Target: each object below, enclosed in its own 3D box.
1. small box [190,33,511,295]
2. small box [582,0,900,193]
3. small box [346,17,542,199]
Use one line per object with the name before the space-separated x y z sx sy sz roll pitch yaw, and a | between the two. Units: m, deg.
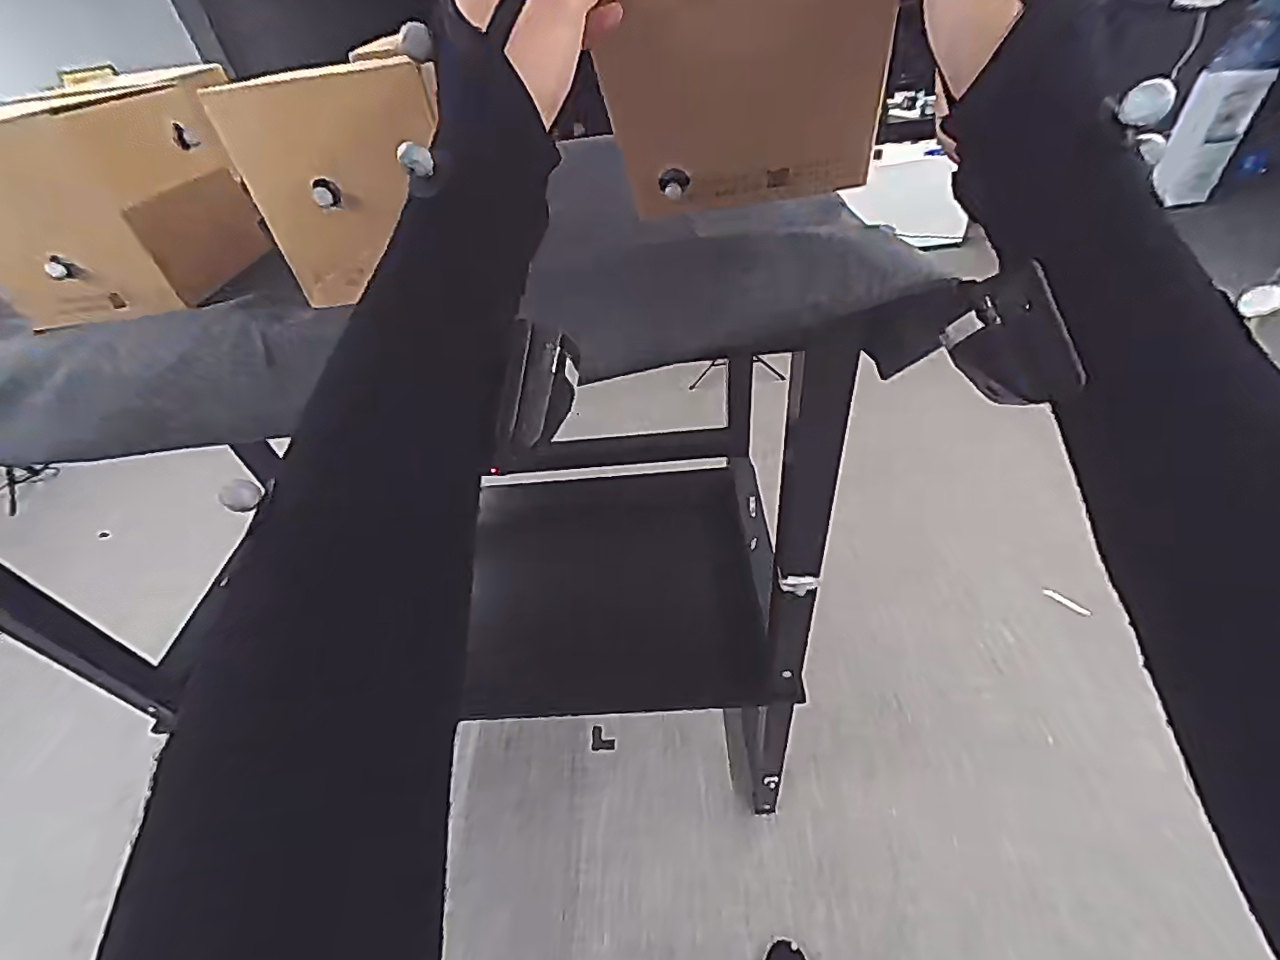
small box | -0.225 -0.275 0.483 0.168 0.176 0.179 -6 41 3
small box | 0.065 -0.310 0.342 0.168 0.176 0.179 -3 67 12
small box | -0.227 -0.465 0.685 0.168 0.176 0.179 -5 43 3
